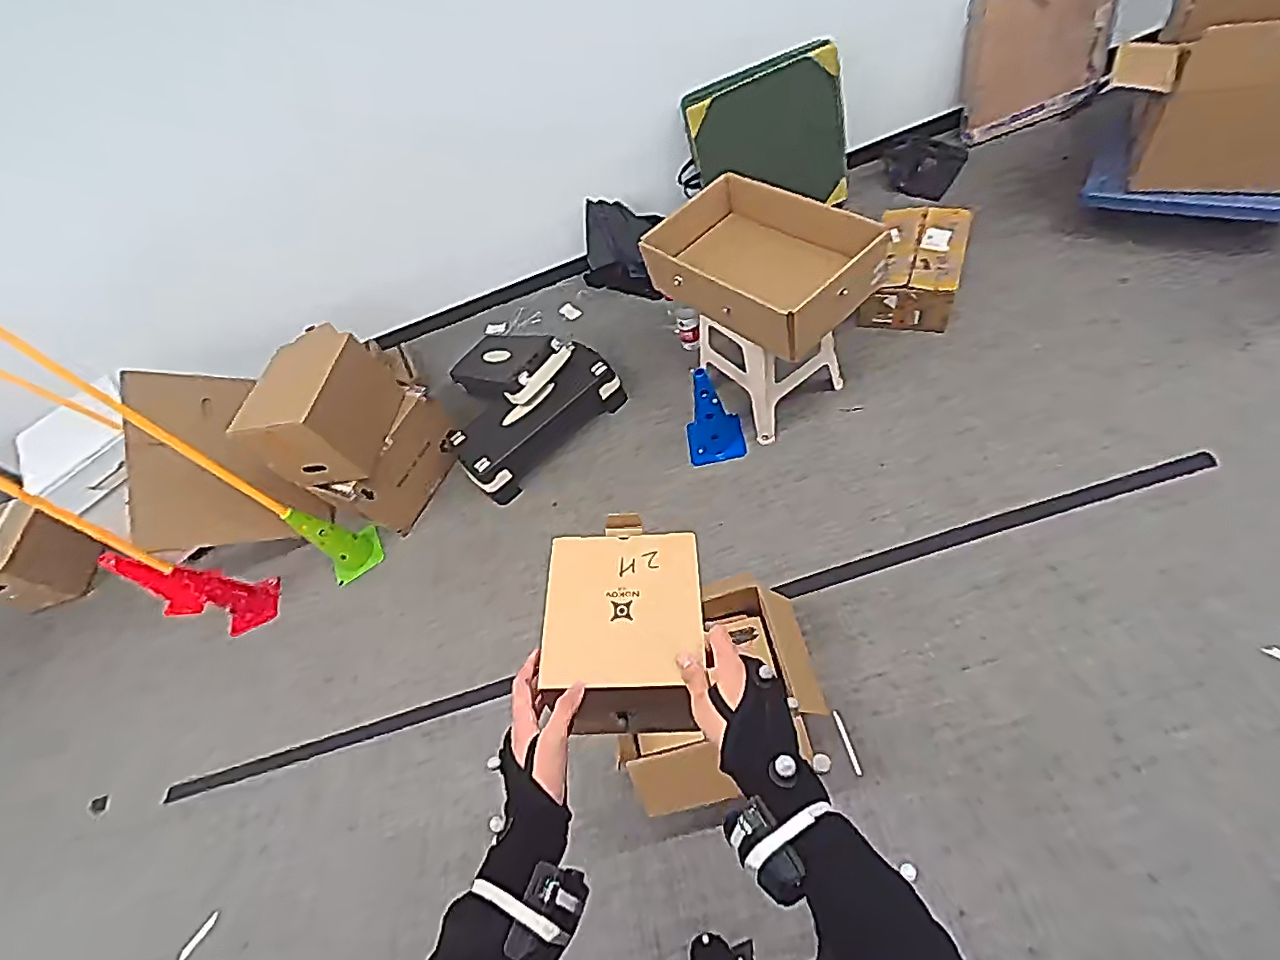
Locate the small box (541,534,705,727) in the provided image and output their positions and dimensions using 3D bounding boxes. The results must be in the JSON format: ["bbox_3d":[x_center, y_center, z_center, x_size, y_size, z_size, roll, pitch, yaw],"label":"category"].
[{"bbox_3d":[-0.012,0.183,0.638,0.168,0.176,0.179,-2,50,2],"label":"small box"}]
